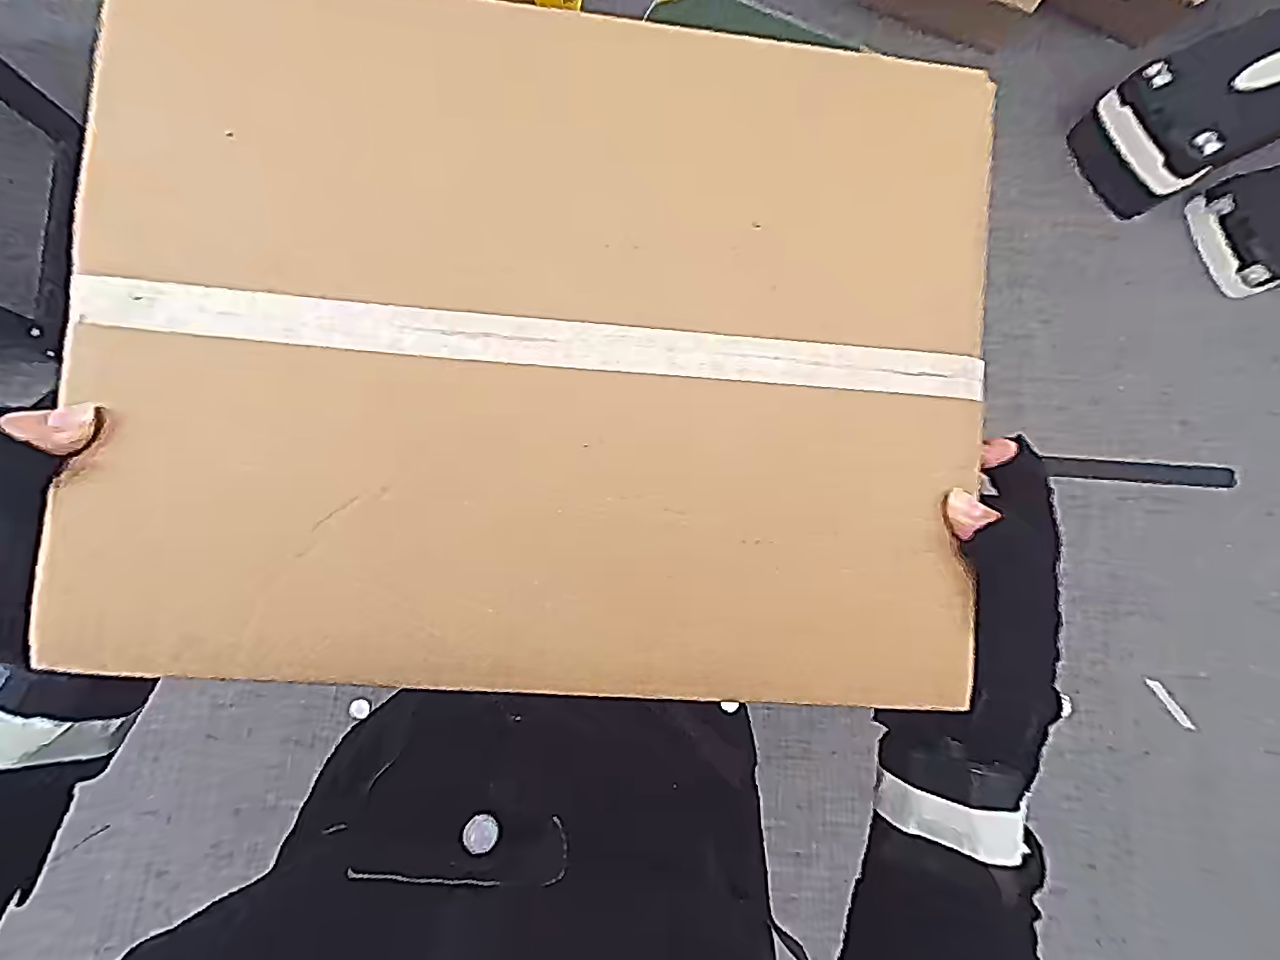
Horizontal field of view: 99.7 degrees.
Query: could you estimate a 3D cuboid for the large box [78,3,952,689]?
[{"bbox_3d":[-0.054,-0.054,0.407,0.408,0.320,0.320,4,87,-5],"label":"large box"}]
